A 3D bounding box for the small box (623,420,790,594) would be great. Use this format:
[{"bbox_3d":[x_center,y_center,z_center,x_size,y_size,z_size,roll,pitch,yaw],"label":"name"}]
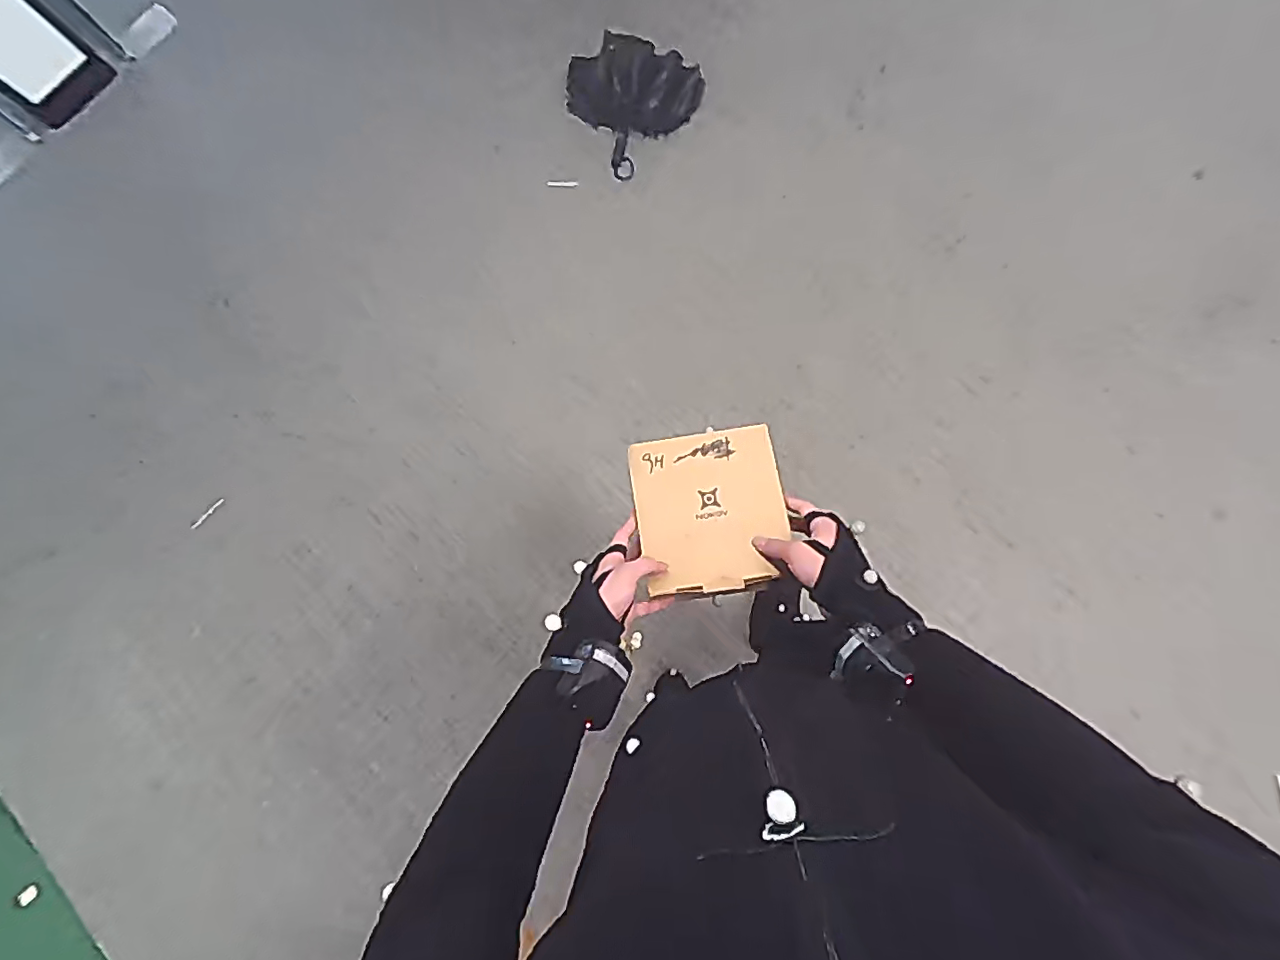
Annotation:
[{"bbox_3d":[0.077,0.045,0.675,0.168,0.176,0.179,-9,74,2],"label":"small box"}]
